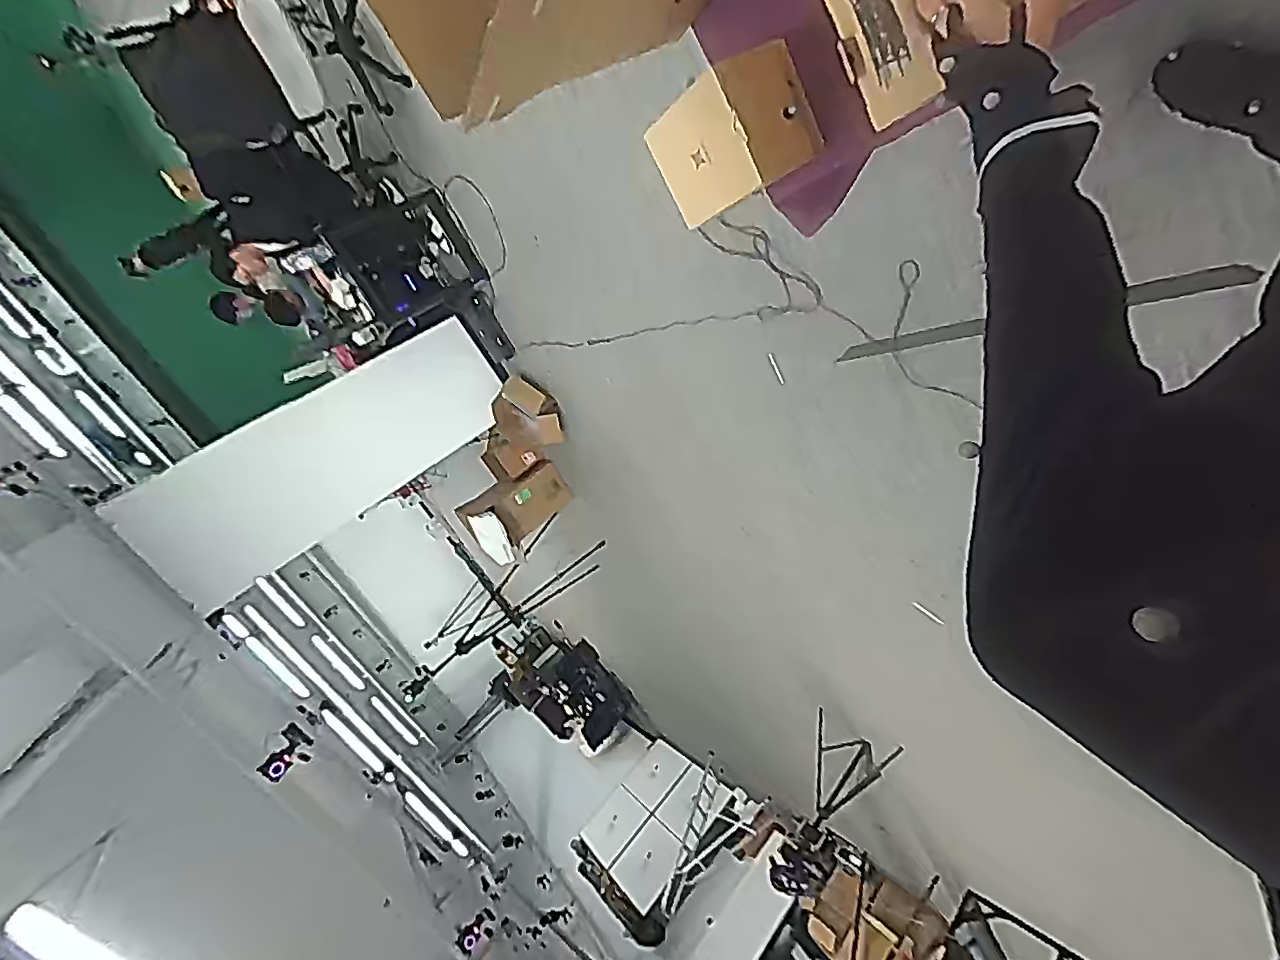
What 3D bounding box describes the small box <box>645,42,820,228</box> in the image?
[{"bbox_3d":[0.146,-0.537,0.854,0.179,0.176,0.168,-2,124,58],"label":"small box"}]
